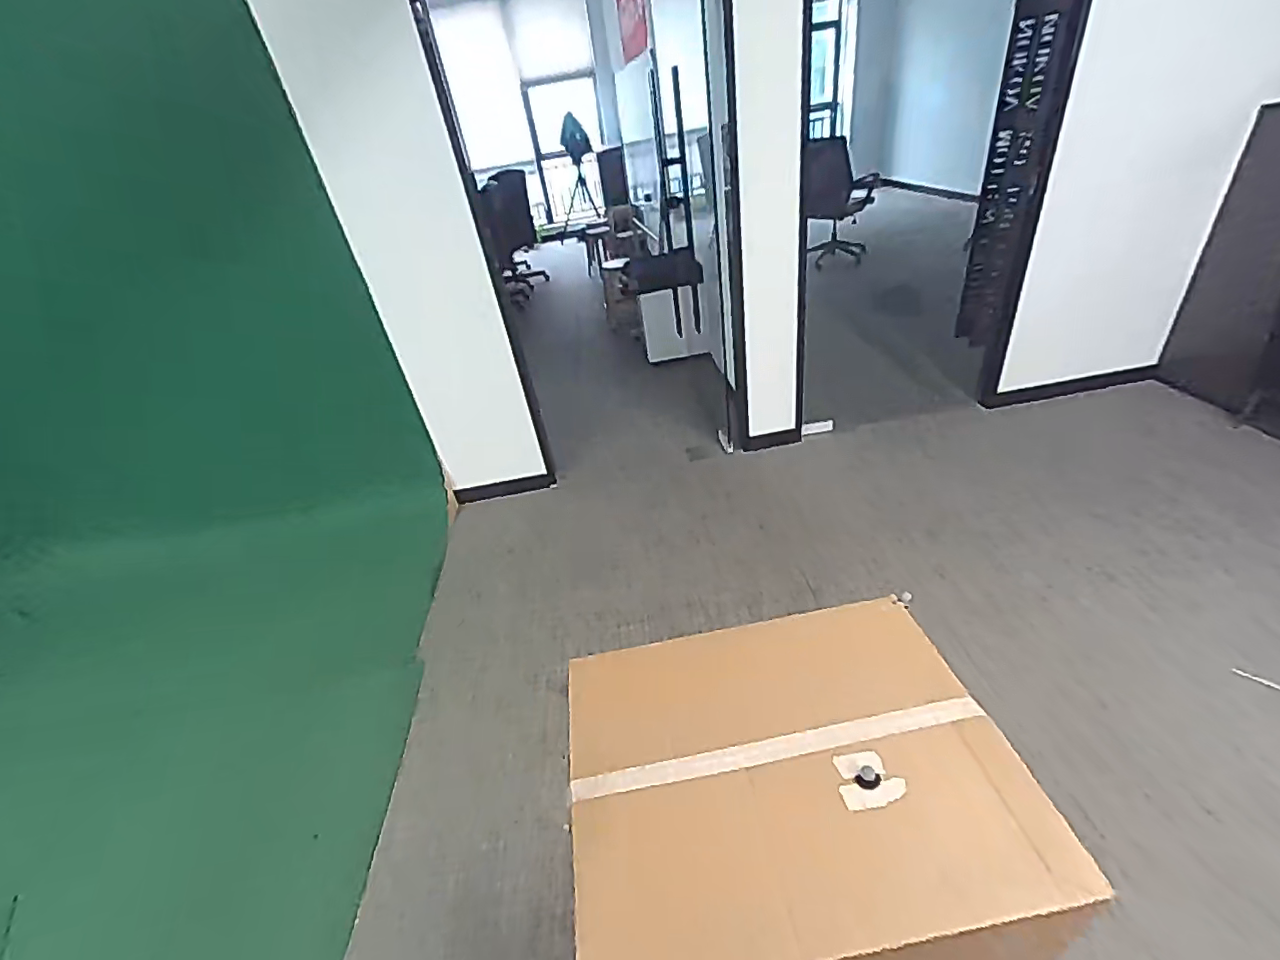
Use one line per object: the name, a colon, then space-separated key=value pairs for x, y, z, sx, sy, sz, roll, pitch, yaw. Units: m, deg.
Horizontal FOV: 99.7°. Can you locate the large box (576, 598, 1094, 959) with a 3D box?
large box: x=0.156 y=0.385 z=0.610 sx=0.408 sy=0.320 sz=0.320 roll=-10 pitch=34 yaw=-3
